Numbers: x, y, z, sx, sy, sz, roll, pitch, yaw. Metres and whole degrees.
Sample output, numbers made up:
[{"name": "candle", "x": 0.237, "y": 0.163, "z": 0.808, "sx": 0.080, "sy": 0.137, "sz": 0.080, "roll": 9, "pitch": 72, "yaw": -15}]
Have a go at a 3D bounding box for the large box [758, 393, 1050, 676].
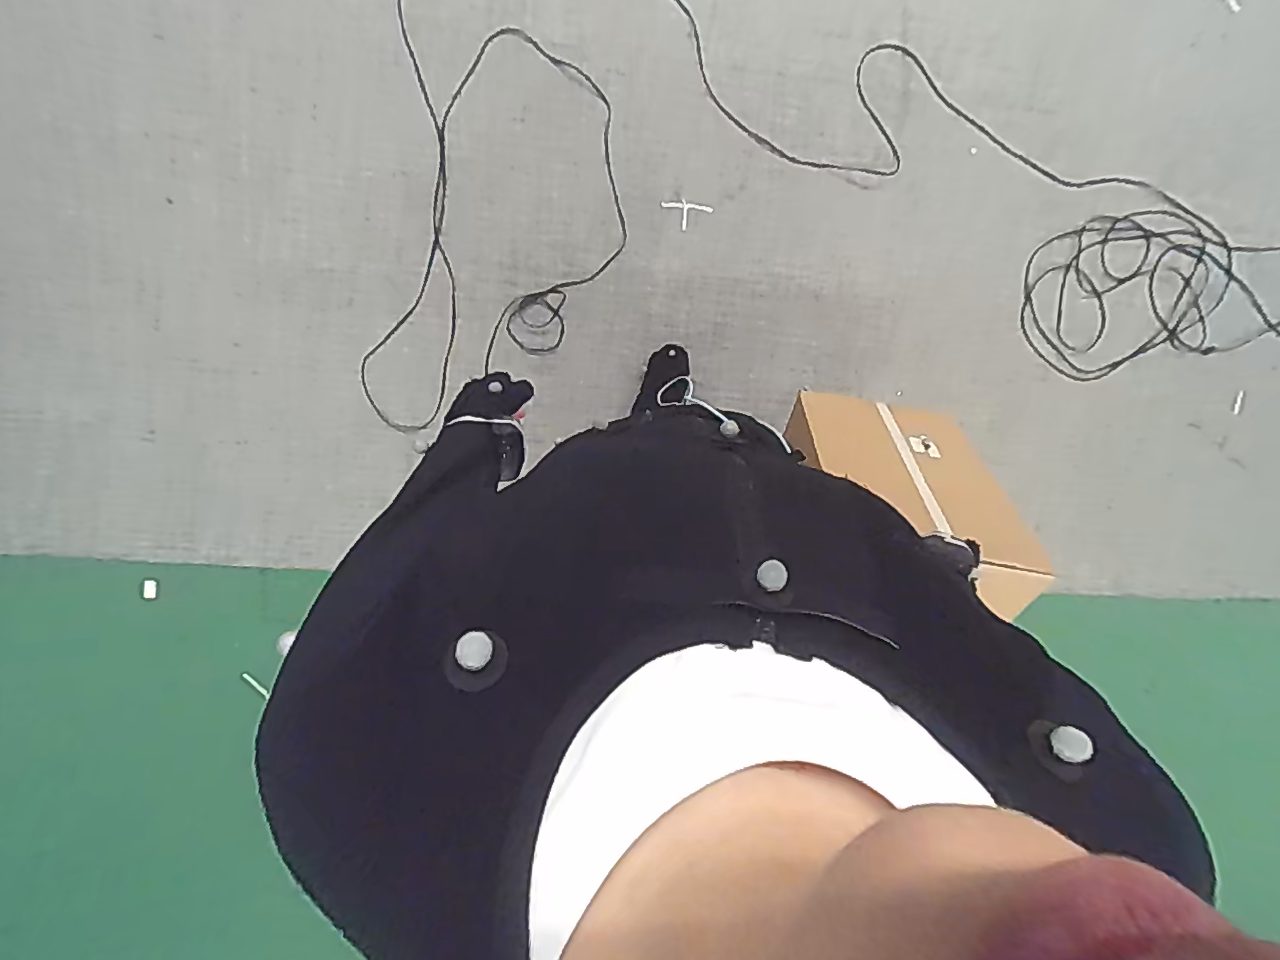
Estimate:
[{"name": "large box", "x": 0.425, "y": 0.092, "z": 1.002, "sx": 0.320, "sy": 0.408, "sz": 0.320, "roll": 10, "pitch": 129, "yaw": -3}]
